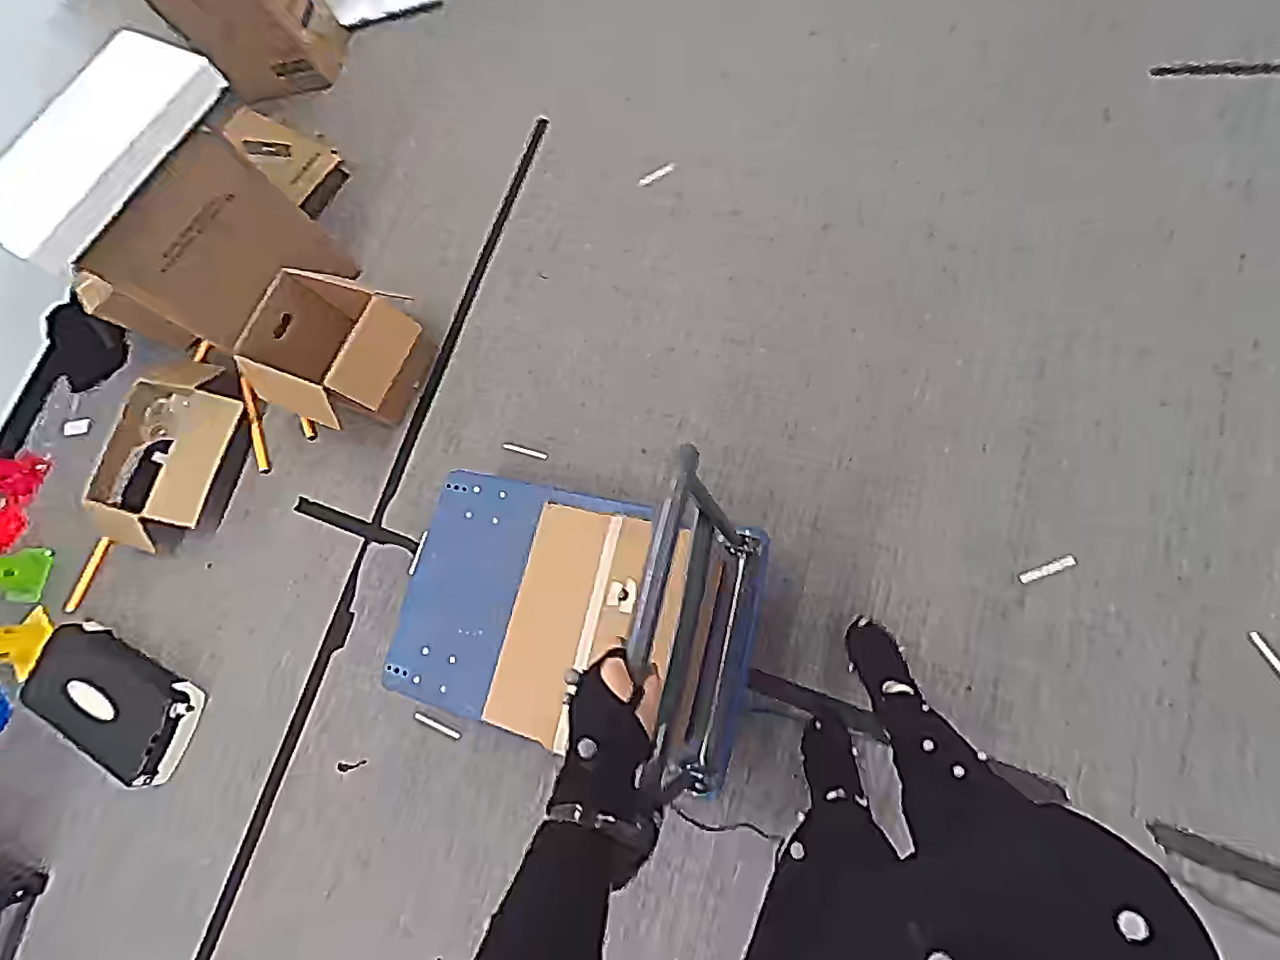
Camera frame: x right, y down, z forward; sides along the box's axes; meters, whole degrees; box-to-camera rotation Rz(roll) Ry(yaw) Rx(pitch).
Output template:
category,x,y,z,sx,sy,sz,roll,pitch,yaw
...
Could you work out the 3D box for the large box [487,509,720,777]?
category,x,y,z,sx,sy,sz,roll,pitch,yaw
large box,-0.045,0.310,1.086,0.320,0.320,0.408,10,76,18
